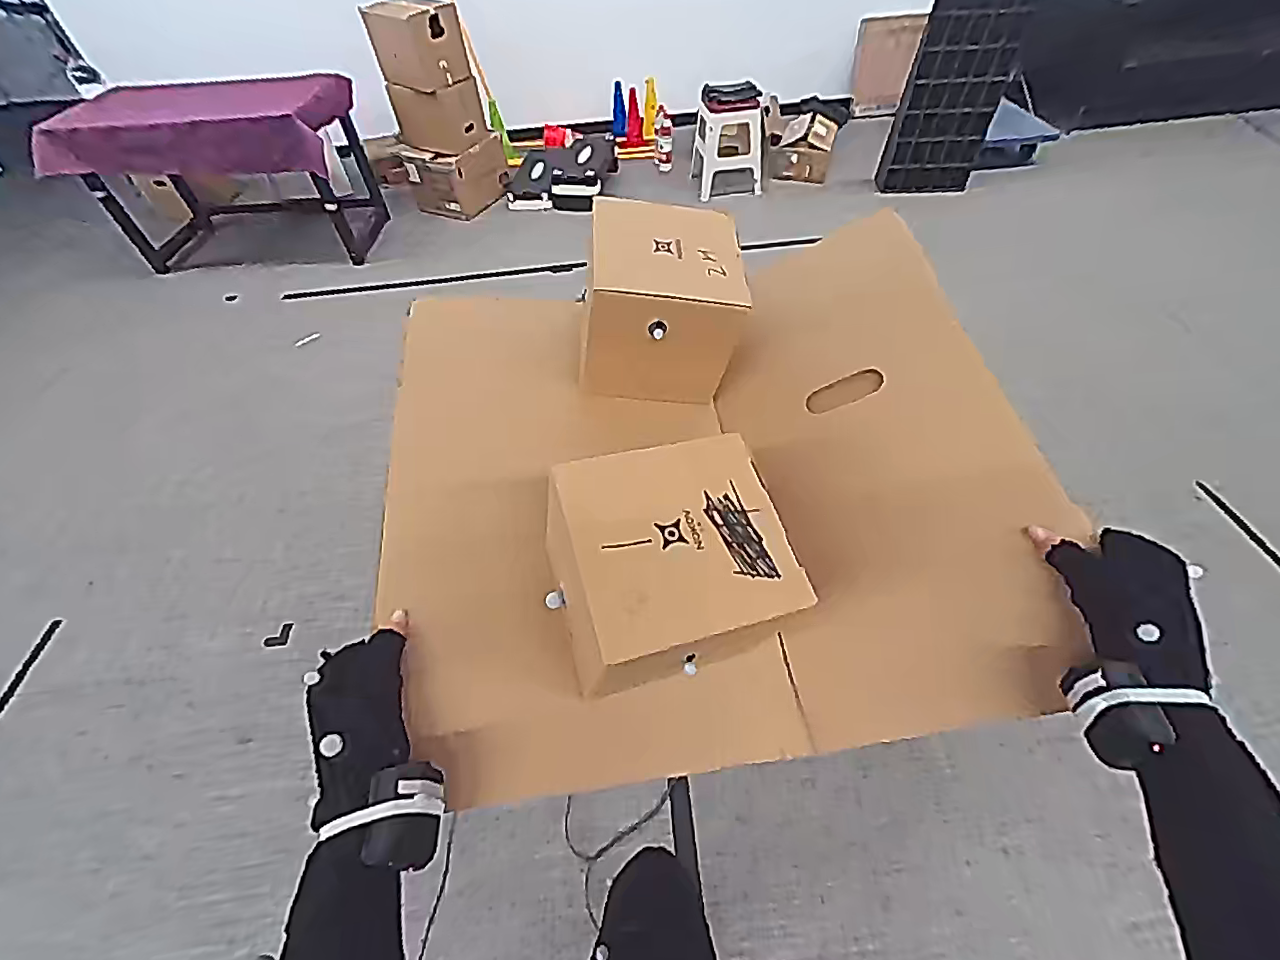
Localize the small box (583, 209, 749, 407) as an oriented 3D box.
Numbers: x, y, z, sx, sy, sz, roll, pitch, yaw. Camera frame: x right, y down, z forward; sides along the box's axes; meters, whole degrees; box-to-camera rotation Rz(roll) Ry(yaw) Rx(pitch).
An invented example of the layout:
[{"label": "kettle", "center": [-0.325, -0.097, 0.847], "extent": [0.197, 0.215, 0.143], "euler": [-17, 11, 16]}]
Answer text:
[{"label": "small box", "center": [0.021, -0.210, 0.689], "extent": [0.179, 0.176, 0.168], "euler": [4, 59, -10]}]

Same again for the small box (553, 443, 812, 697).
[{"label": "small box", "center": [0.021, 0.088, 0.507], "extent": [0.179, 0.176, 0.168], "euler": [-11, 62, -16]}]
